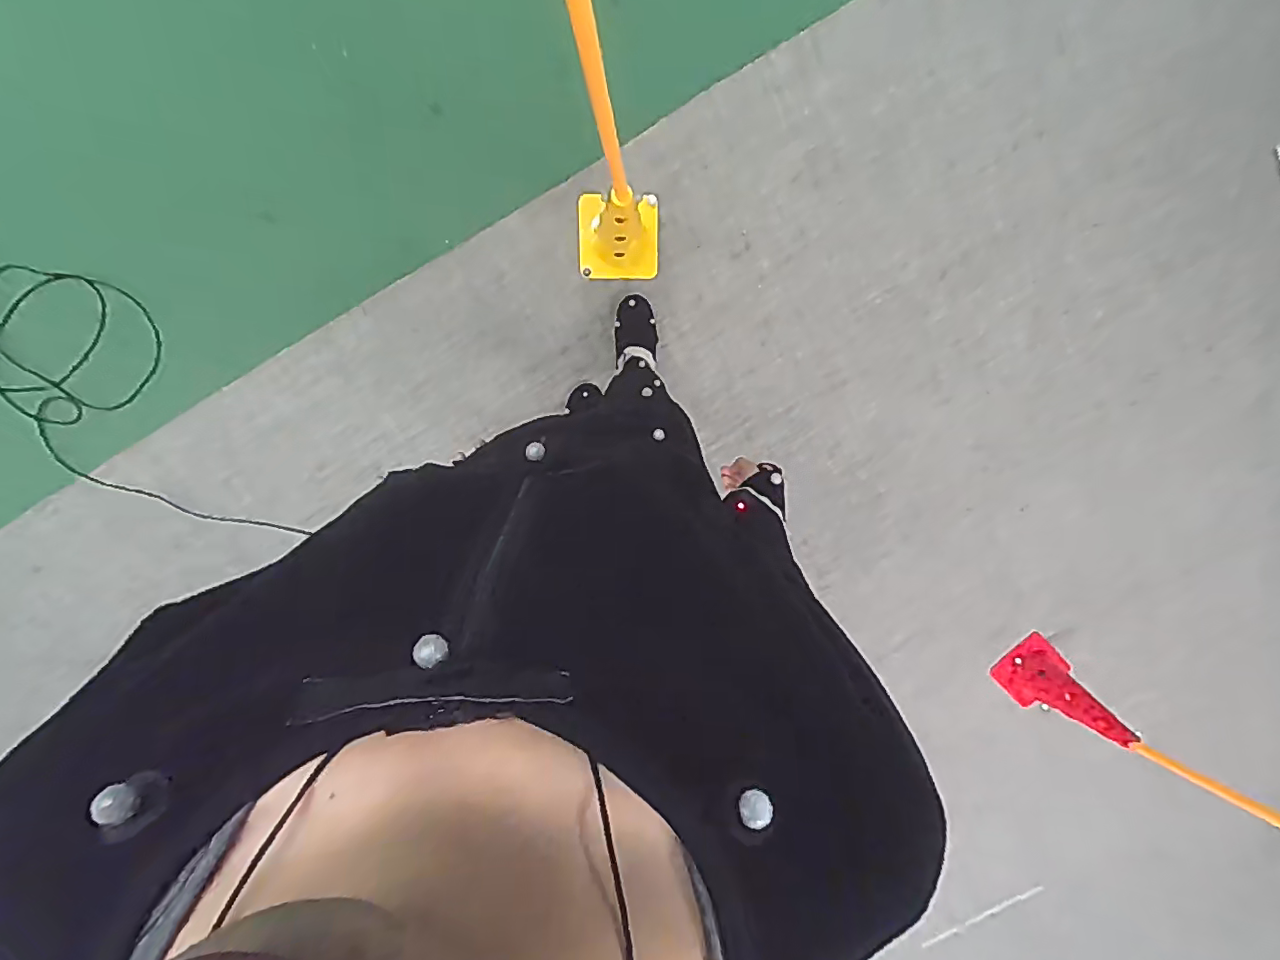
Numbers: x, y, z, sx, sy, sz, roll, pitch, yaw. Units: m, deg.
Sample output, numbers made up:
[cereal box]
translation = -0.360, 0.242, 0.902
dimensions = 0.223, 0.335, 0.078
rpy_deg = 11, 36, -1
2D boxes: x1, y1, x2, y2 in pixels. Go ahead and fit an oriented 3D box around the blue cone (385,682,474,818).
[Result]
[blue cone]
translation = -0.585, 0.733, 1.448
dimensions = 0.192, 0.380, 0.193
rpy_deg = 14, 104, -8
